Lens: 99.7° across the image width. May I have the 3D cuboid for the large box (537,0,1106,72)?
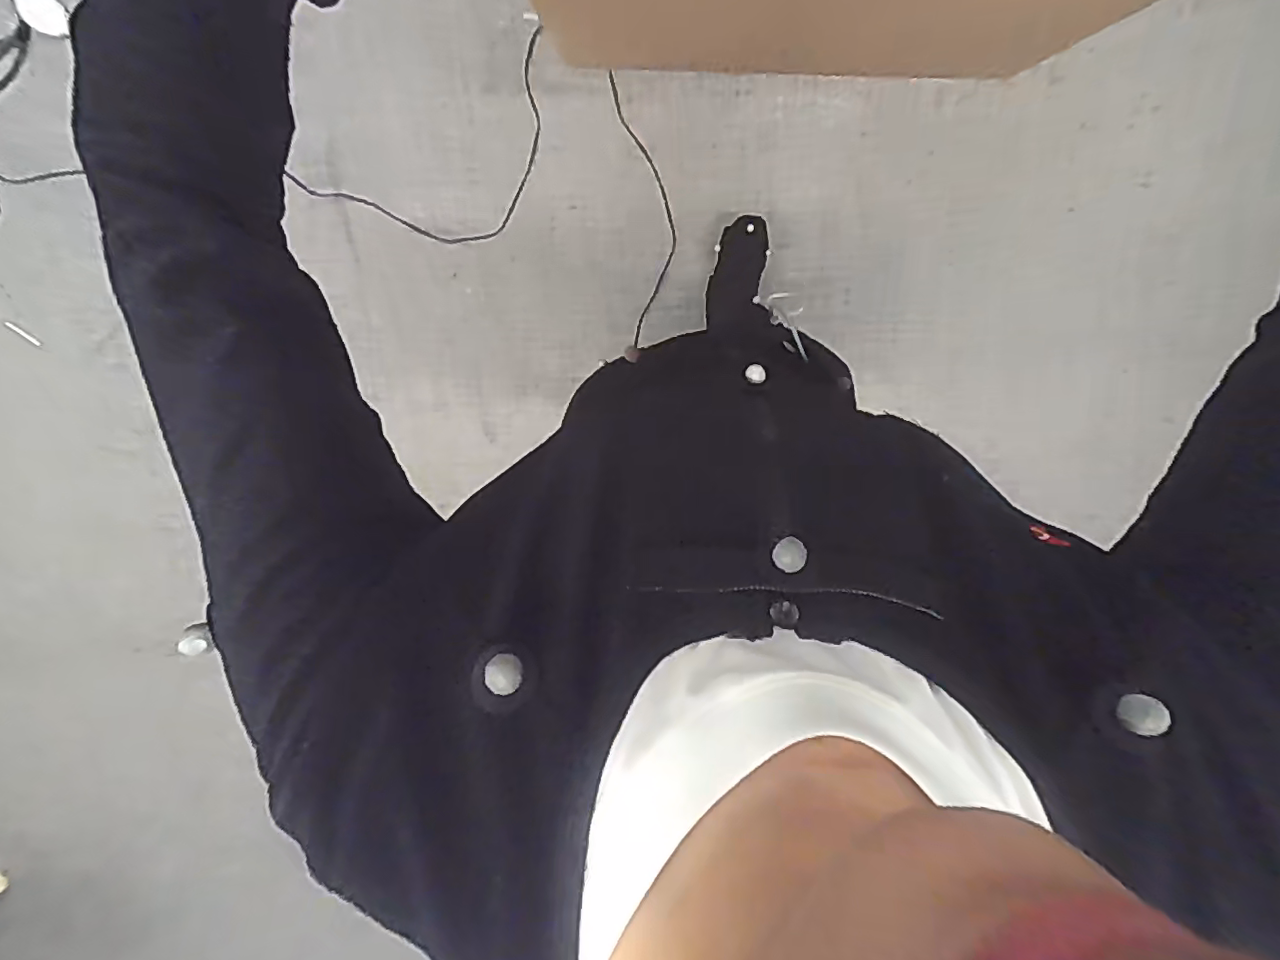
[{"bbox_3d":[0.123,-0.460,0.298,0.408,0.320,0.320,2,113,2],"label":"large box"}]
